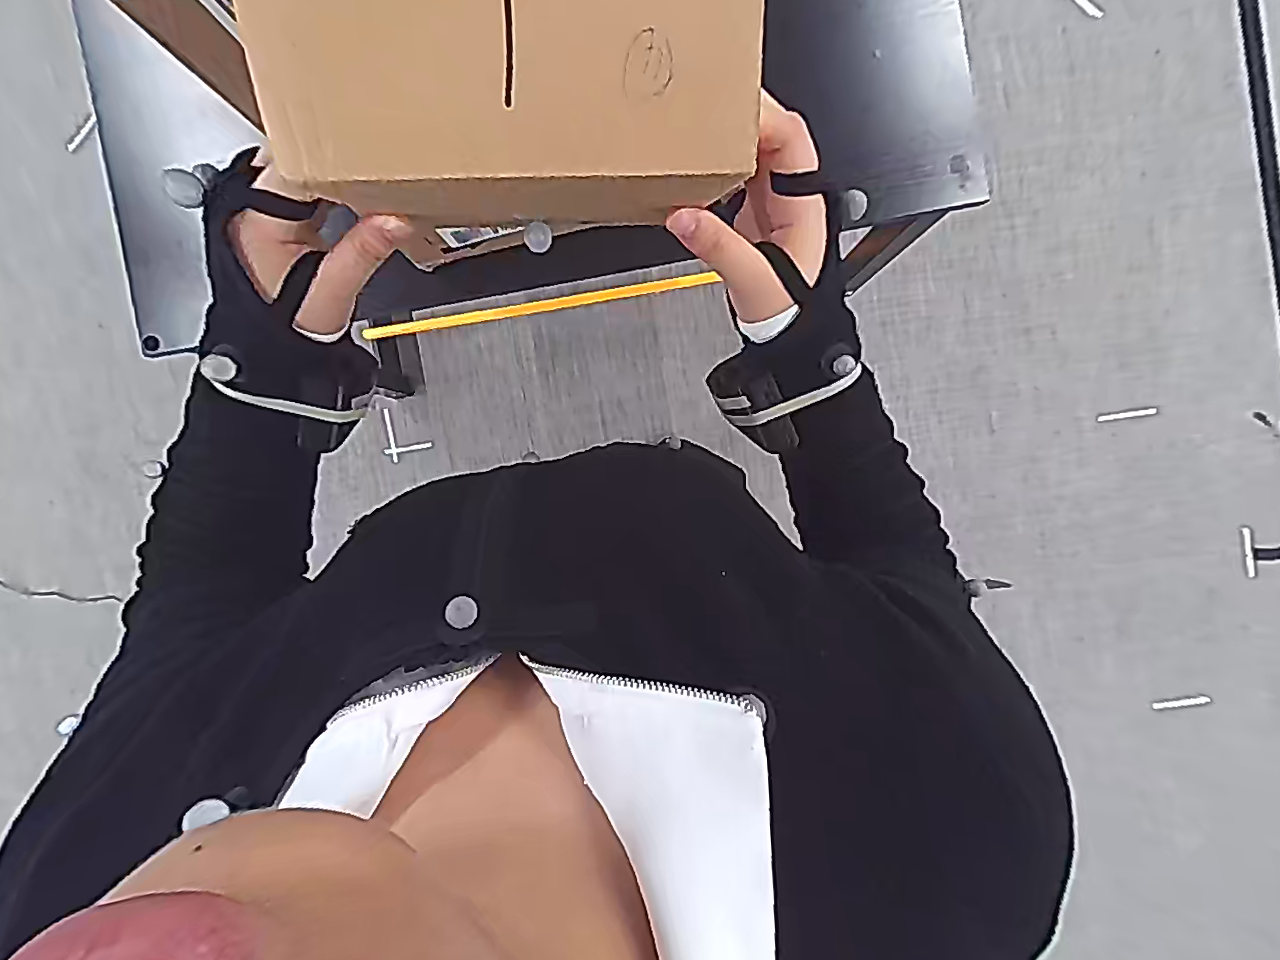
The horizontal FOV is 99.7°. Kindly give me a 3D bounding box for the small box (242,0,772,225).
[{"bbox_3d":[-0.047,-0.214,0.231,0.168,0.176,0.179,-3,111,-4],"label":"small box"}]
